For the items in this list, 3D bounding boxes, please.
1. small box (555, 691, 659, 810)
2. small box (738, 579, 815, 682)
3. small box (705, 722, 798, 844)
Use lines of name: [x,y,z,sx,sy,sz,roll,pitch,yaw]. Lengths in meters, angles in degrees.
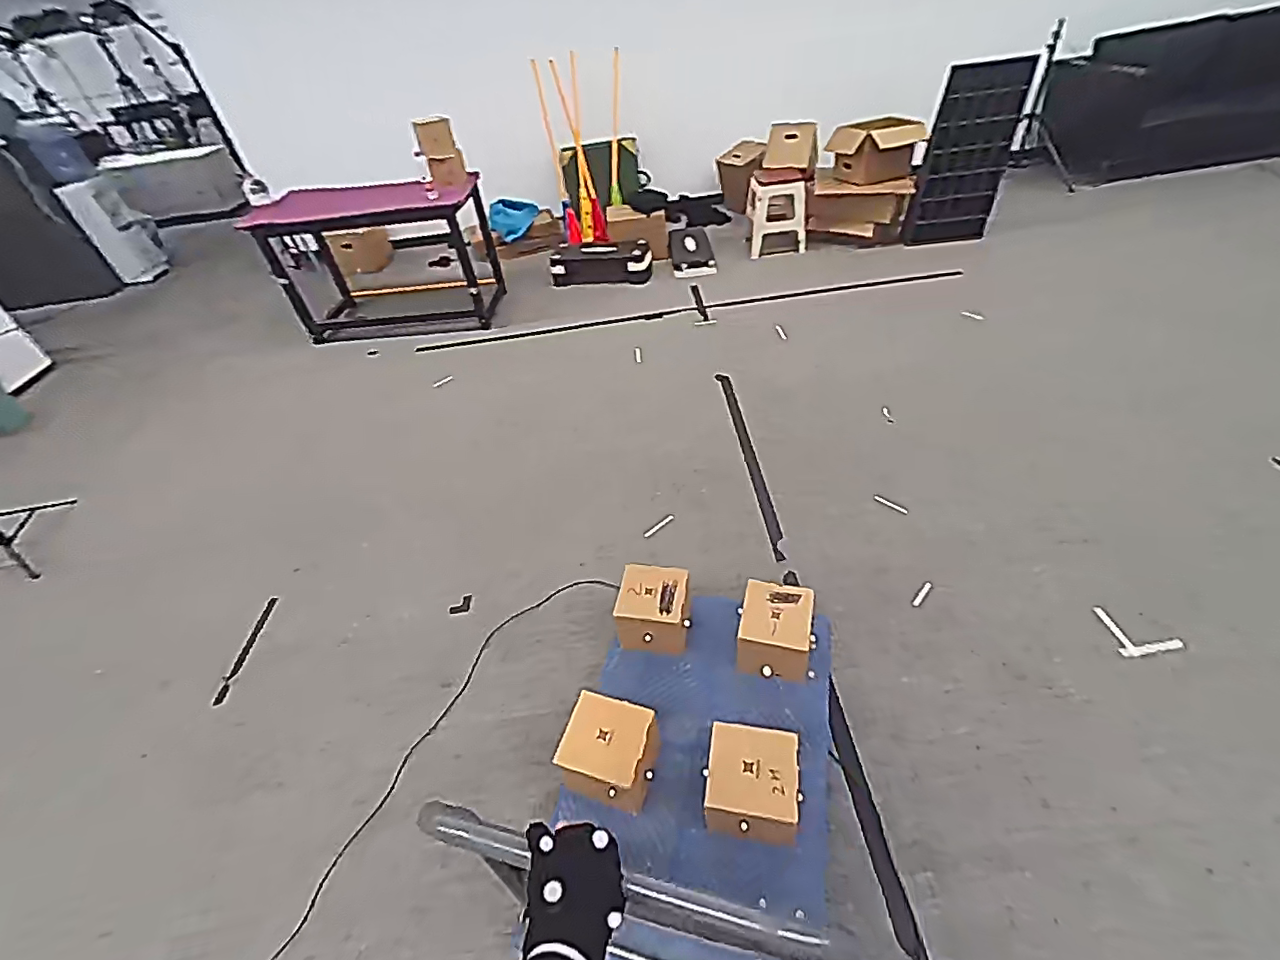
small box: [-0.064,0.604,1.203,0.179,0.176,0.168,9,45,17]
small box: [0.343,0.381,1.371,0.168,0.176,0.179,7,46,17]
small box: [0.234,0.630,1.124,0.179,0.176,0.168,3,44,13]
